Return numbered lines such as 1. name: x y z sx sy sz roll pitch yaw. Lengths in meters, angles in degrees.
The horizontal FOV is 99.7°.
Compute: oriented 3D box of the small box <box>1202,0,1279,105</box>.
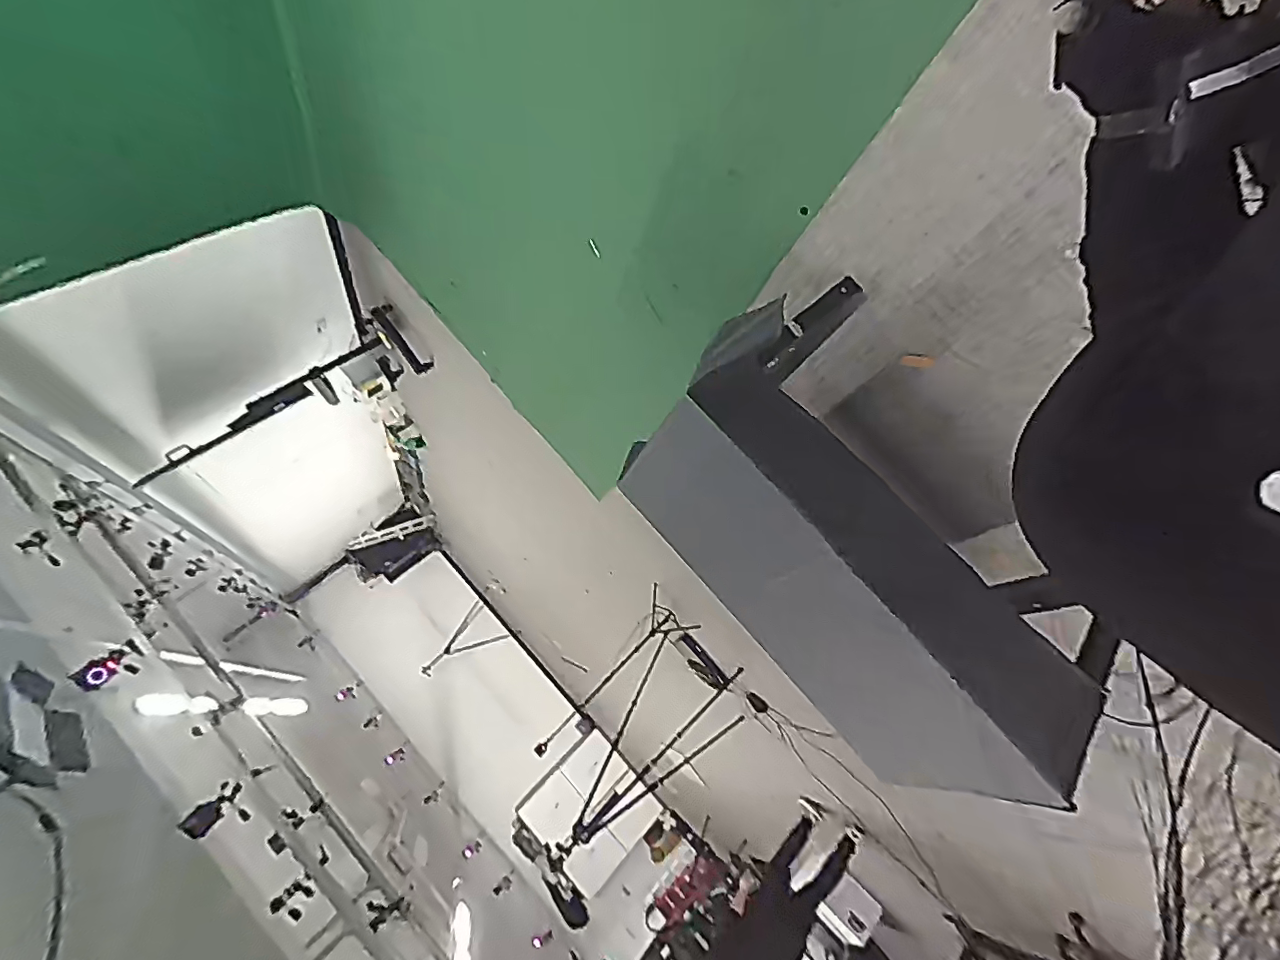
1. small box: 0.981 -0.641 0.773 0.179 0.176 0.168 -114 19 -46
